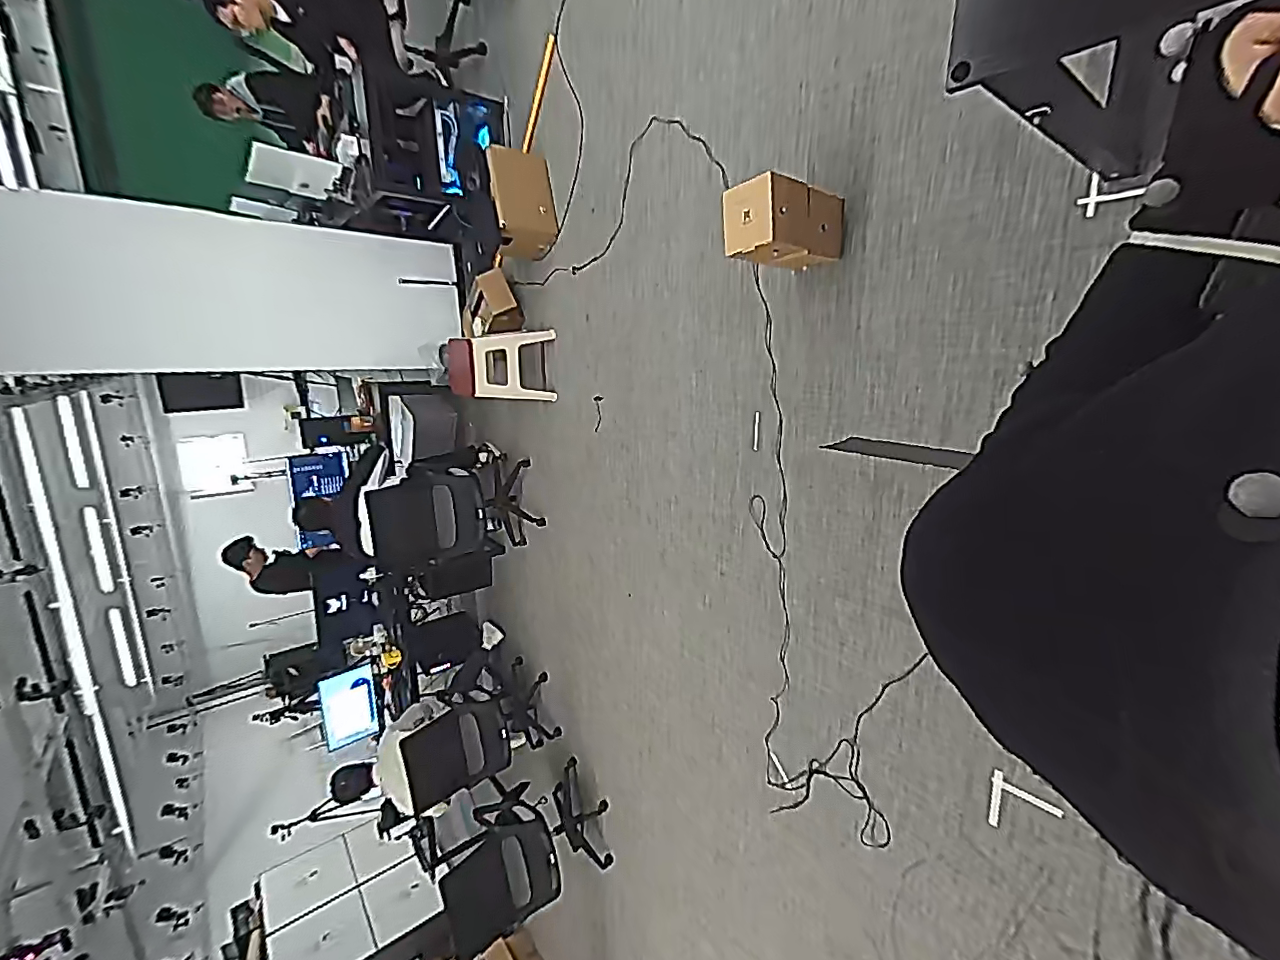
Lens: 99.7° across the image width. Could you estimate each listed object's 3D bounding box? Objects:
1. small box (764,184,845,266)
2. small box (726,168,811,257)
[{"bbox_3d":[0.485,-0.744,1.594,0.168,0.176,0.179,12,108,51],"label":"small box"},{"bbox_3d":[0.357,-0.727,1.495,0.168,0.176,0.179,6,102,50],"label":"small box"}]
